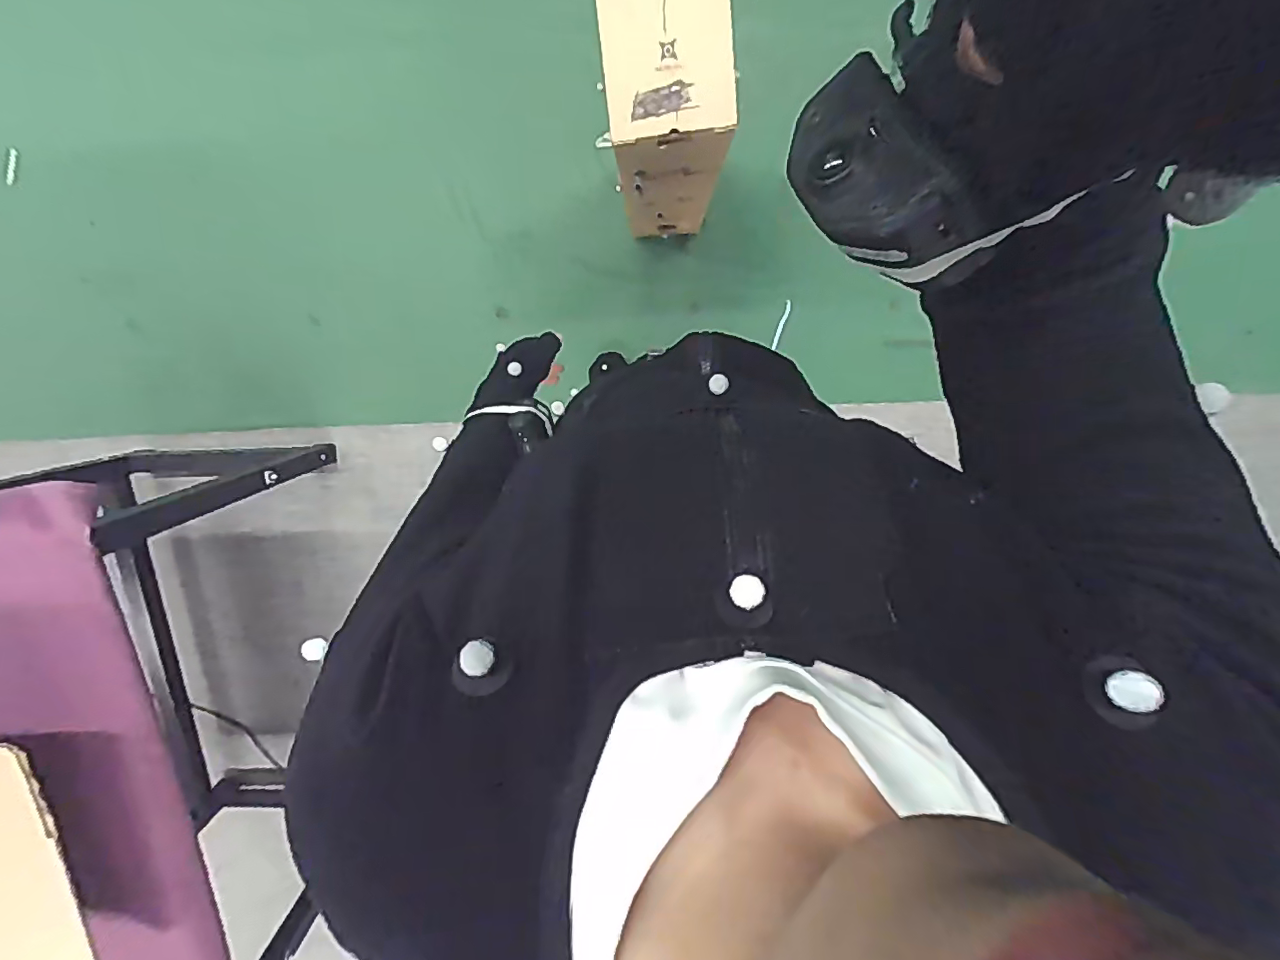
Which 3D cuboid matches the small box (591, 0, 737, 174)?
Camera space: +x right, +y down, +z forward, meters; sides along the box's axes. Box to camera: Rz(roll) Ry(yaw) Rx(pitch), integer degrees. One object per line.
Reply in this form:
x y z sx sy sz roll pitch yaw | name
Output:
0.036 -0.546 0.753 0.168 0.176 0.179 -9 106 4 | small box

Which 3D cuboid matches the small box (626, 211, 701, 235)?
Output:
0.049 -0.670 1.228 0.168 0.176 0.179 -3 105 2 | small box

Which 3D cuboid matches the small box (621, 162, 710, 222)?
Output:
0.044 -0.629 1.071 0.168 0.176 0.179 -5 105 2 | small box
